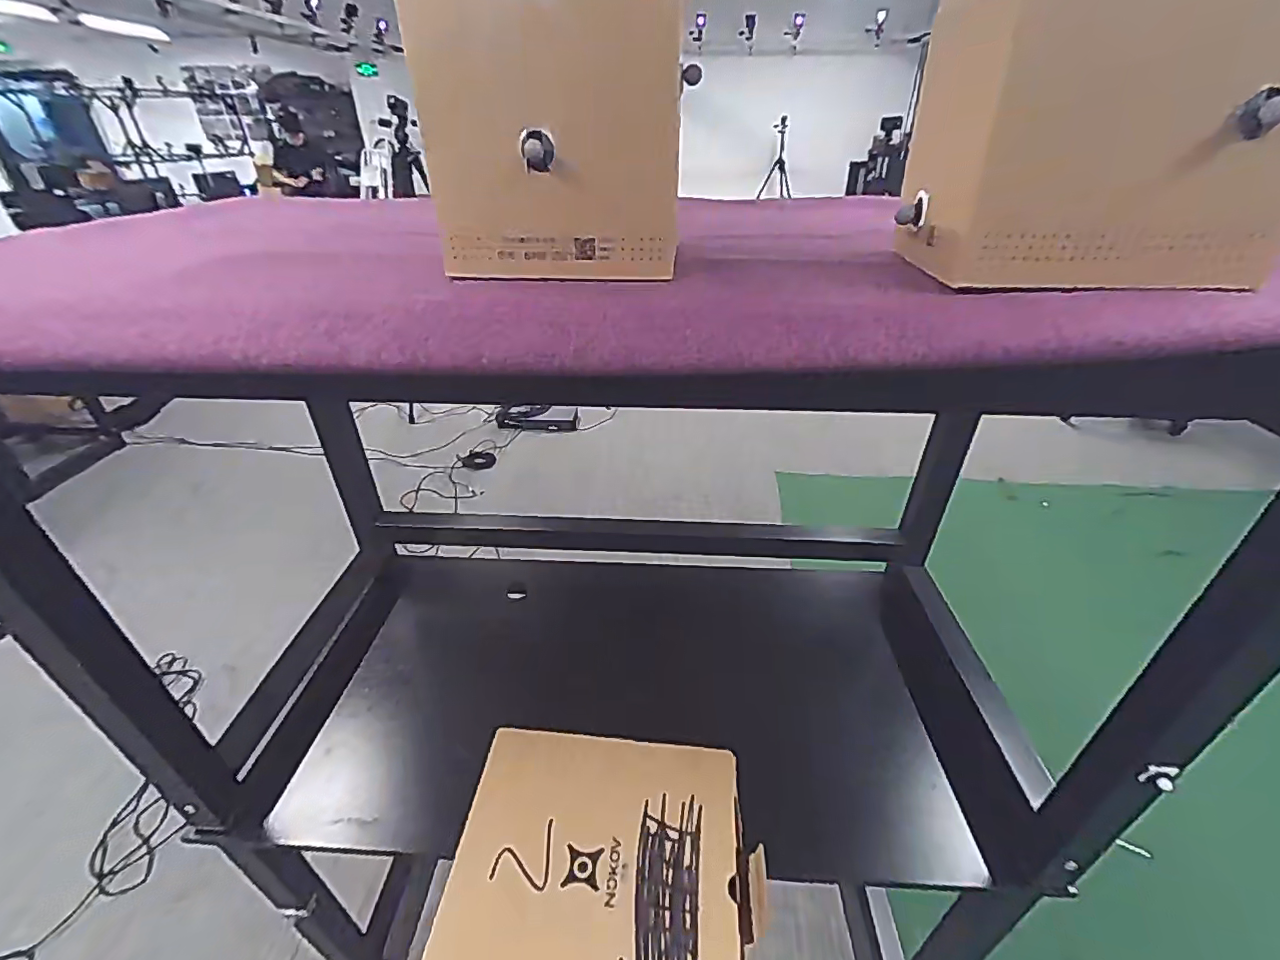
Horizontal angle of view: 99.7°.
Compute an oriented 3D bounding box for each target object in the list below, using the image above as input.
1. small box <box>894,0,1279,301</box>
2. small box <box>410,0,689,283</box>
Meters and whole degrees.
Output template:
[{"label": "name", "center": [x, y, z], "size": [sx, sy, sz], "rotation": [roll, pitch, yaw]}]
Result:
[{"label": "small box", "center": [0.298, -0.224, 0.369], "size": [0.179, 0.176, 0.168], "rotation": [3, 30, 8]}, {"label": "small box", "center": [-0.047, -0.257, 0.421], "size": [0.168, 0.176, 0.179], "rotation": [3, 32, 3]}]
